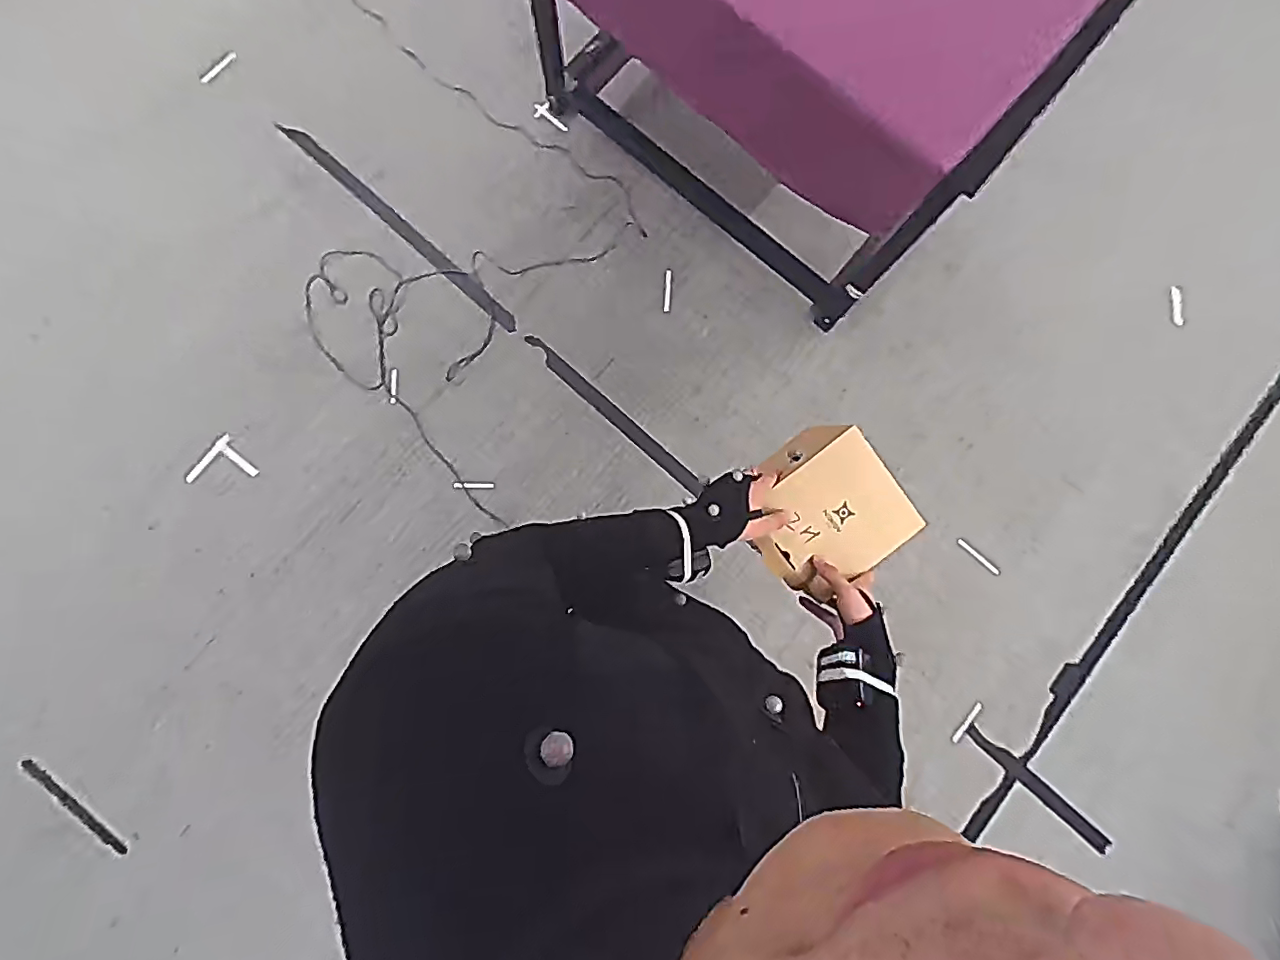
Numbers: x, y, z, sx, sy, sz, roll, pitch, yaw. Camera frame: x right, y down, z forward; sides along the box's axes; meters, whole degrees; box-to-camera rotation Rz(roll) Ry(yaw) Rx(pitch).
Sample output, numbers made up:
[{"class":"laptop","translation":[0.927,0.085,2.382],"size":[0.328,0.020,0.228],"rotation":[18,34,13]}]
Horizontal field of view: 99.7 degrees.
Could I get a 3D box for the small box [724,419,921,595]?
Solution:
[{"class":"small box","translation":[0.245,0.029,0.772],"size":[0.179,0.176,0.168],"rotation":[-38,95,1]}]
